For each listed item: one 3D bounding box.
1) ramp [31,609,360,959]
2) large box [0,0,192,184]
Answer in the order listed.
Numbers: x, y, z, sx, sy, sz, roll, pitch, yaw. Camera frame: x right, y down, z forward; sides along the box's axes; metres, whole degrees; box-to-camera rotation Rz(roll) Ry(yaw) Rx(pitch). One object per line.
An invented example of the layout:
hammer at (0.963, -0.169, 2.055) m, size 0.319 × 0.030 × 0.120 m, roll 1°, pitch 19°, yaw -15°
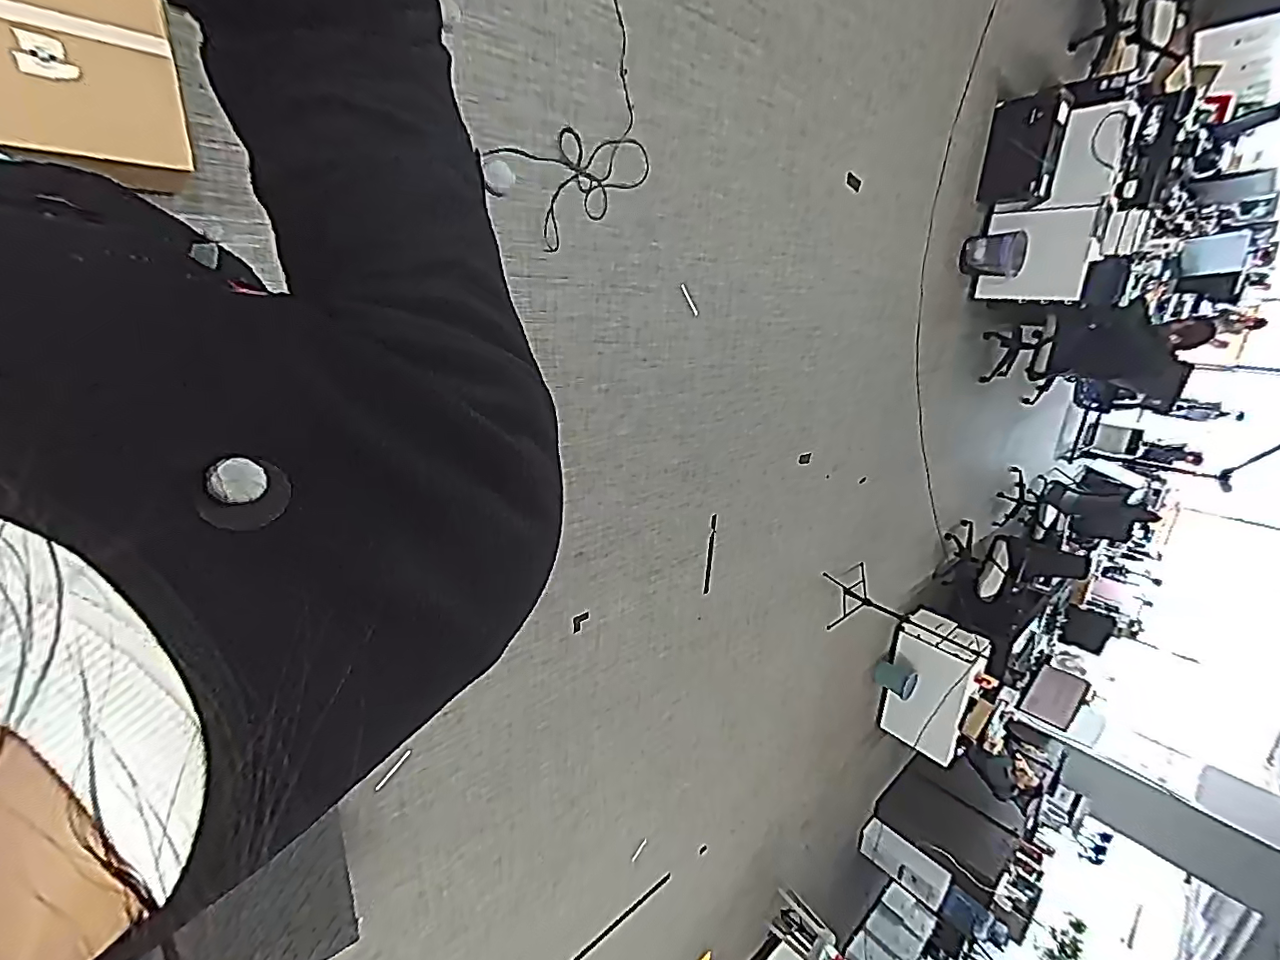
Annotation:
ramp at (-1.024, 0.854, 1.325) m, size 0.509 × 0.206 × 0.991 m, roll -13°, pitch 113°, yaw -38°
large box at (-0.933, -0.632, 0.761) m, size 0.408 × 0.320 × 0.320 m, roll -14°, pitch 116°, yaw -40°
